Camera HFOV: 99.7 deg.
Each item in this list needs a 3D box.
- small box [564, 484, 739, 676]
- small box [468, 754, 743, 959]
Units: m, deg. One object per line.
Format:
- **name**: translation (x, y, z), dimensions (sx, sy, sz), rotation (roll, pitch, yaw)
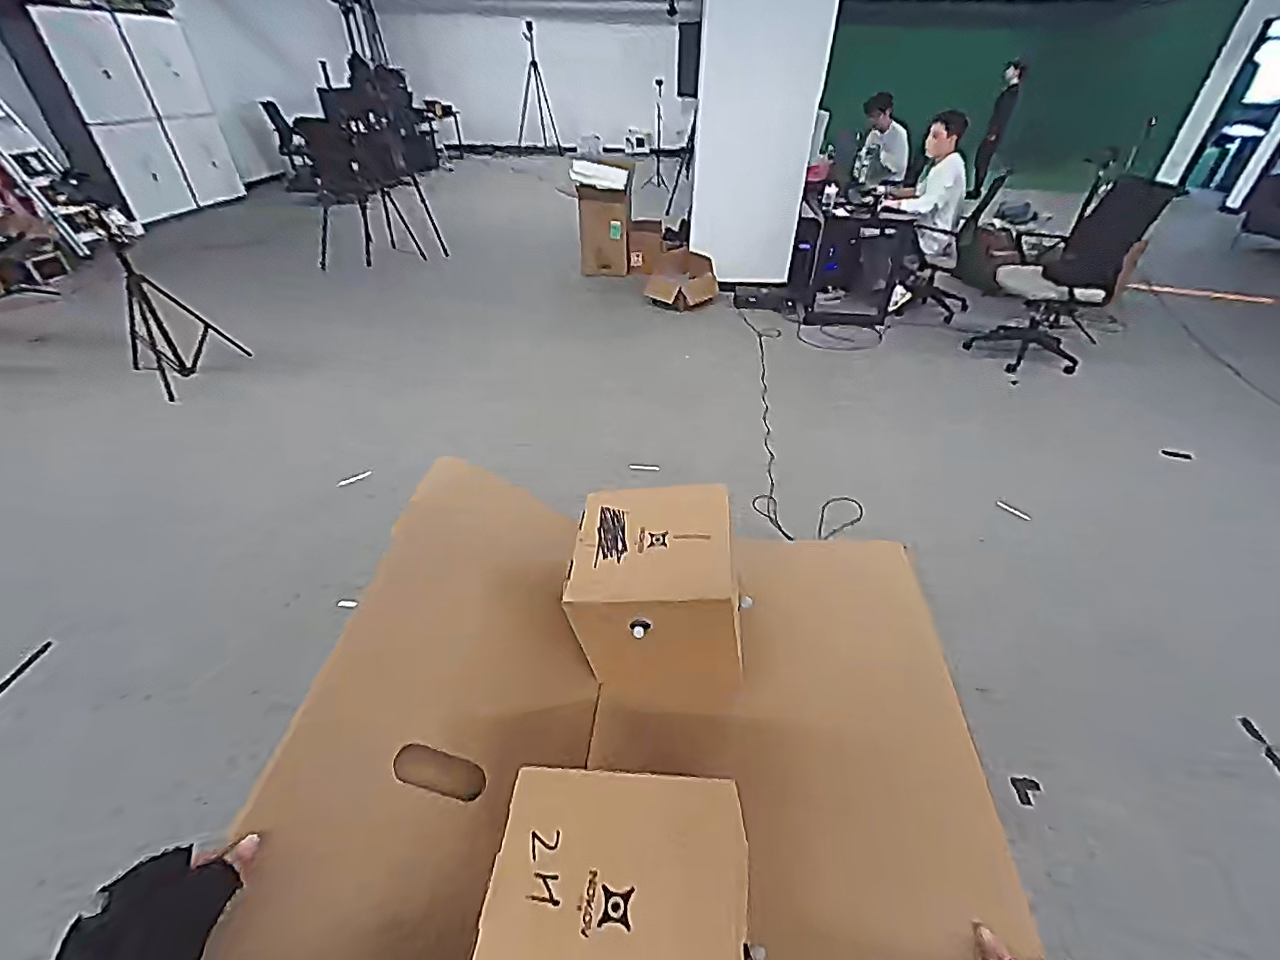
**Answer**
- **small box**: translation (0.026, 0.125, 0.662), dimensions (0.179, 0.176, 0.168), rotation (-3, 43, 11)
- **small box**: translation (-0.010, 0.342, 0.432), dimensions (0.179, 0.176, 0.168), rotation (-3, 42, 14)
